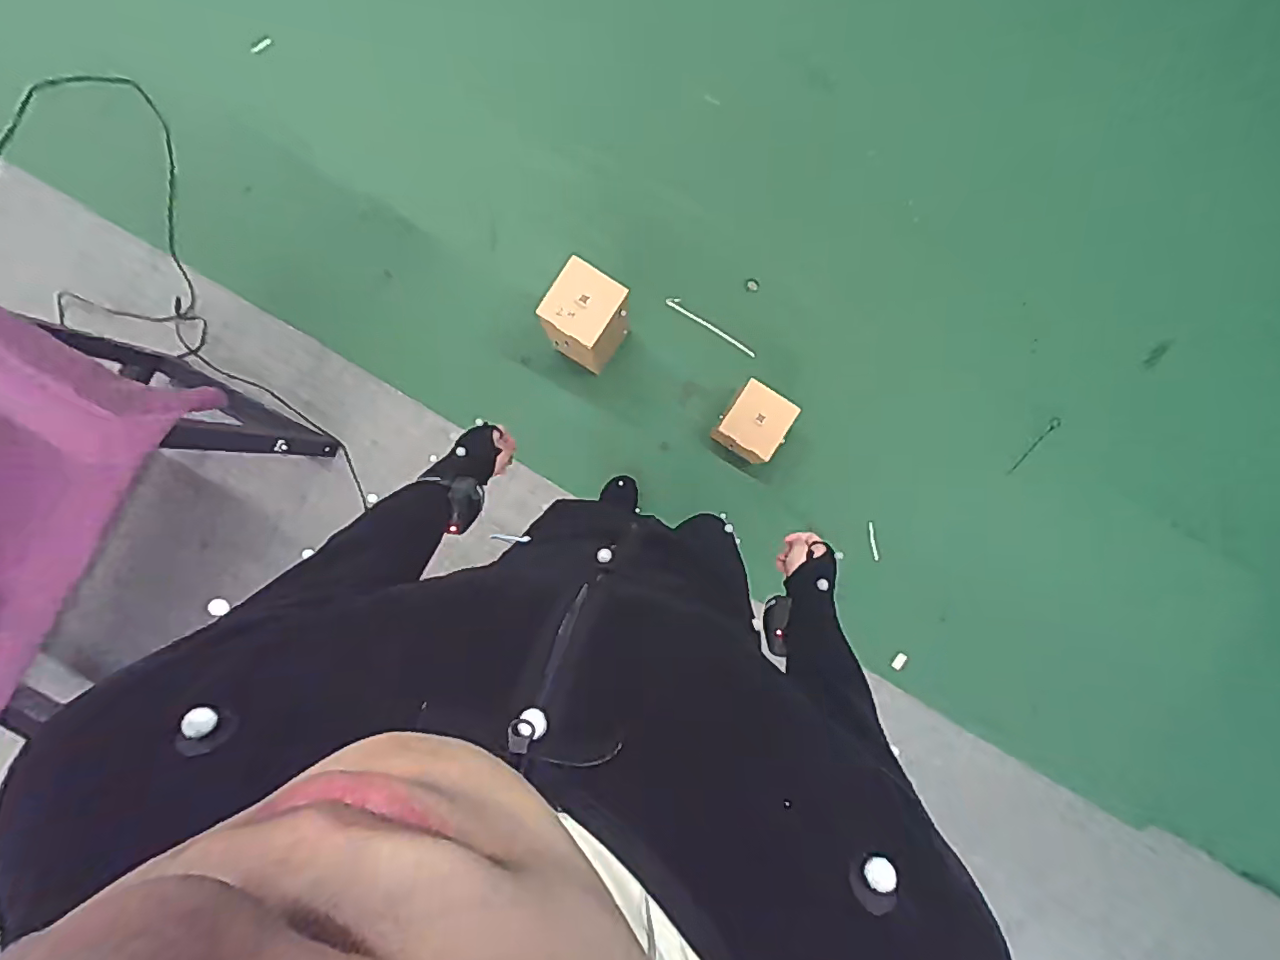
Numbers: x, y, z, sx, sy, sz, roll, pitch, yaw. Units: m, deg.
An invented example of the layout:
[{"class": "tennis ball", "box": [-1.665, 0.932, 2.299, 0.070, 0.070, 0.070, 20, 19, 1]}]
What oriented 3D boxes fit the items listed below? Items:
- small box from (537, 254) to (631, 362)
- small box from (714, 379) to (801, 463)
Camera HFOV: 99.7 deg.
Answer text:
[{"class": "small box", "box": [-0.139, -0.433, 1.390, 0.168, 0.176, 0.179, 34, 89, 0]}, {"class": "small box", "box": [0.329, -0.164, 1.560, 0.168, 0.176, 0.179, 32, 90, -1]}]
